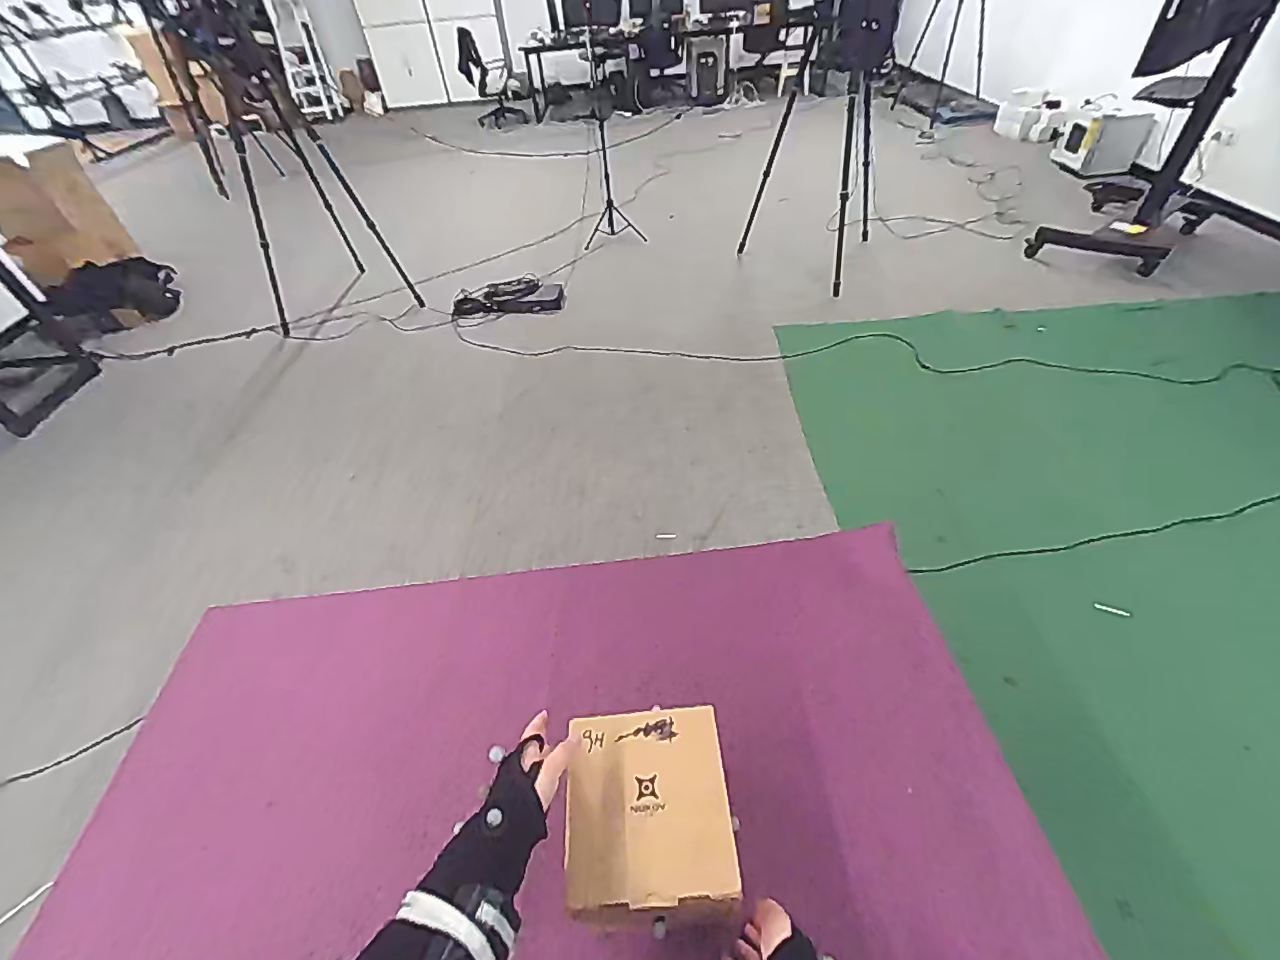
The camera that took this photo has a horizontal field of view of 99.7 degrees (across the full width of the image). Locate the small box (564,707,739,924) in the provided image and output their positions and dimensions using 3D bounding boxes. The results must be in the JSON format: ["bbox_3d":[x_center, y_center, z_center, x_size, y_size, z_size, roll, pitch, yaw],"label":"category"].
[{"bbox_3d":[0.014,0.380,0.607,0.168,0.176,0.179,-5,46,0],"label":"small box"}]
